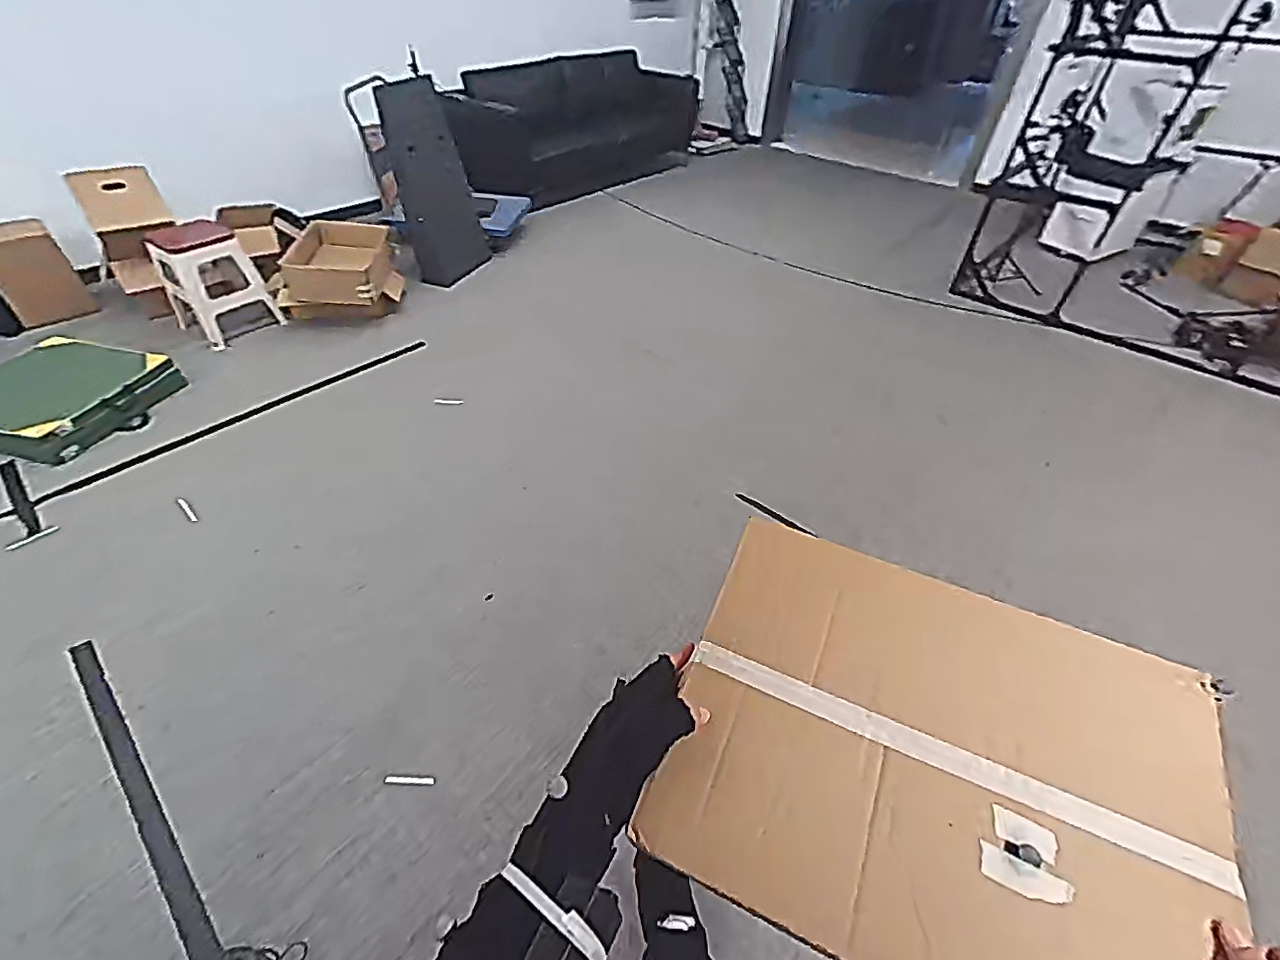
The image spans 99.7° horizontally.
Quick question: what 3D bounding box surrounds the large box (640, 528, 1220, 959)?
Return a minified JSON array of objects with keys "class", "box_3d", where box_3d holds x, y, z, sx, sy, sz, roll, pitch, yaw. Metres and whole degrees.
[{"class":"large box","box_3d":[0.243,0.310,0.572,0.408,0.320,0.320,20,59,16]}]
